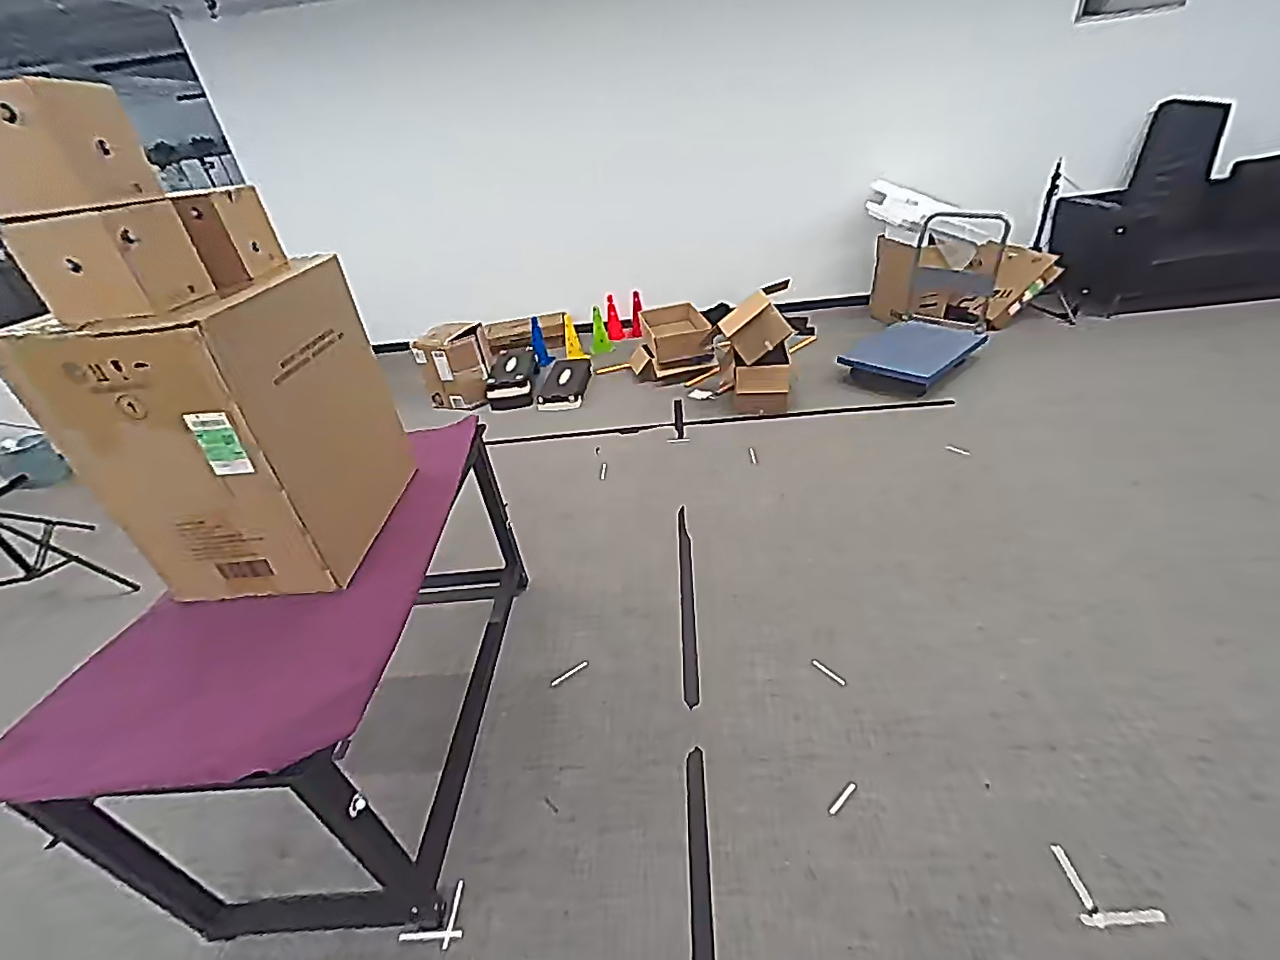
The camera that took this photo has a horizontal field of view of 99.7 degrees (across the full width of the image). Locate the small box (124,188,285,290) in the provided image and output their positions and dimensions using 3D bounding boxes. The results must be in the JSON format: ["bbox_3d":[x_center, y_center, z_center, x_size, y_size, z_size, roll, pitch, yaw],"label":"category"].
[{"bbox_3d":[-0.919,-0.518,1.163,0.179,0.176,0.168,-6,34,0],"label":"small box"}]

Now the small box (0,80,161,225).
[{"bbox_3d":[-0.933,-0.515,0.857,0.179,0.176,0.168,-8,31,-1],"label":"small box"}]
